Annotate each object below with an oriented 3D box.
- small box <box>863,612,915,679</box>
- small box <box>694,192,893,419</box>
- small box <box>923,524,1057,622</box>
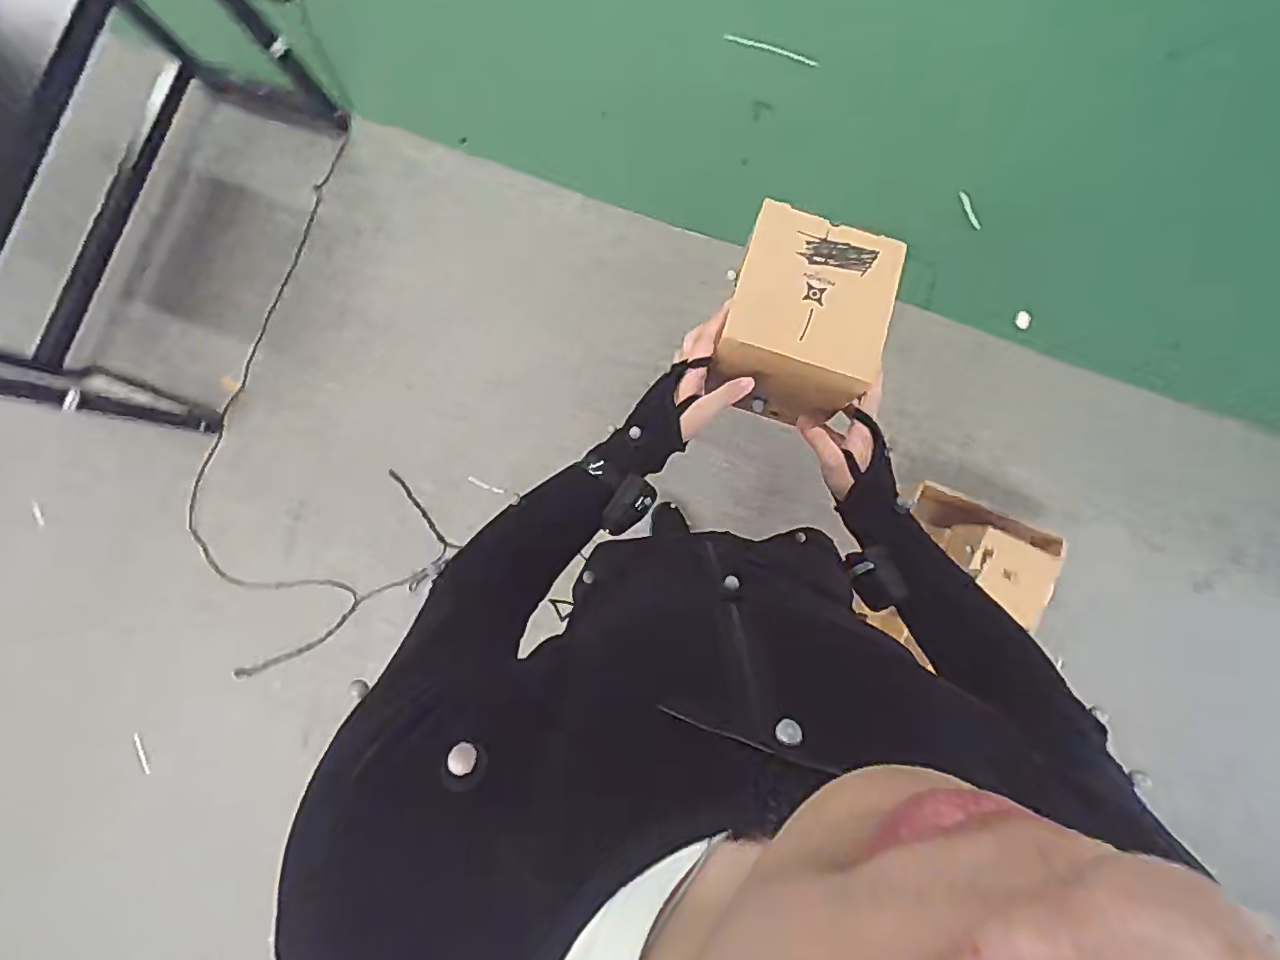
[{"bbox_3d":[0.726,0.466,1.445,0.179,0.176,0.168,23,87,6],"label":"small box"},{"bbox_3d":[0.172,-0.197,0.654,0.168,0.176,0.179,17,78,0],"label":"small box"},{"bbox_3d":[0.823,0.211,1.289,0.179,0.176,0.168,28,88,5],"label":"small box"}]
